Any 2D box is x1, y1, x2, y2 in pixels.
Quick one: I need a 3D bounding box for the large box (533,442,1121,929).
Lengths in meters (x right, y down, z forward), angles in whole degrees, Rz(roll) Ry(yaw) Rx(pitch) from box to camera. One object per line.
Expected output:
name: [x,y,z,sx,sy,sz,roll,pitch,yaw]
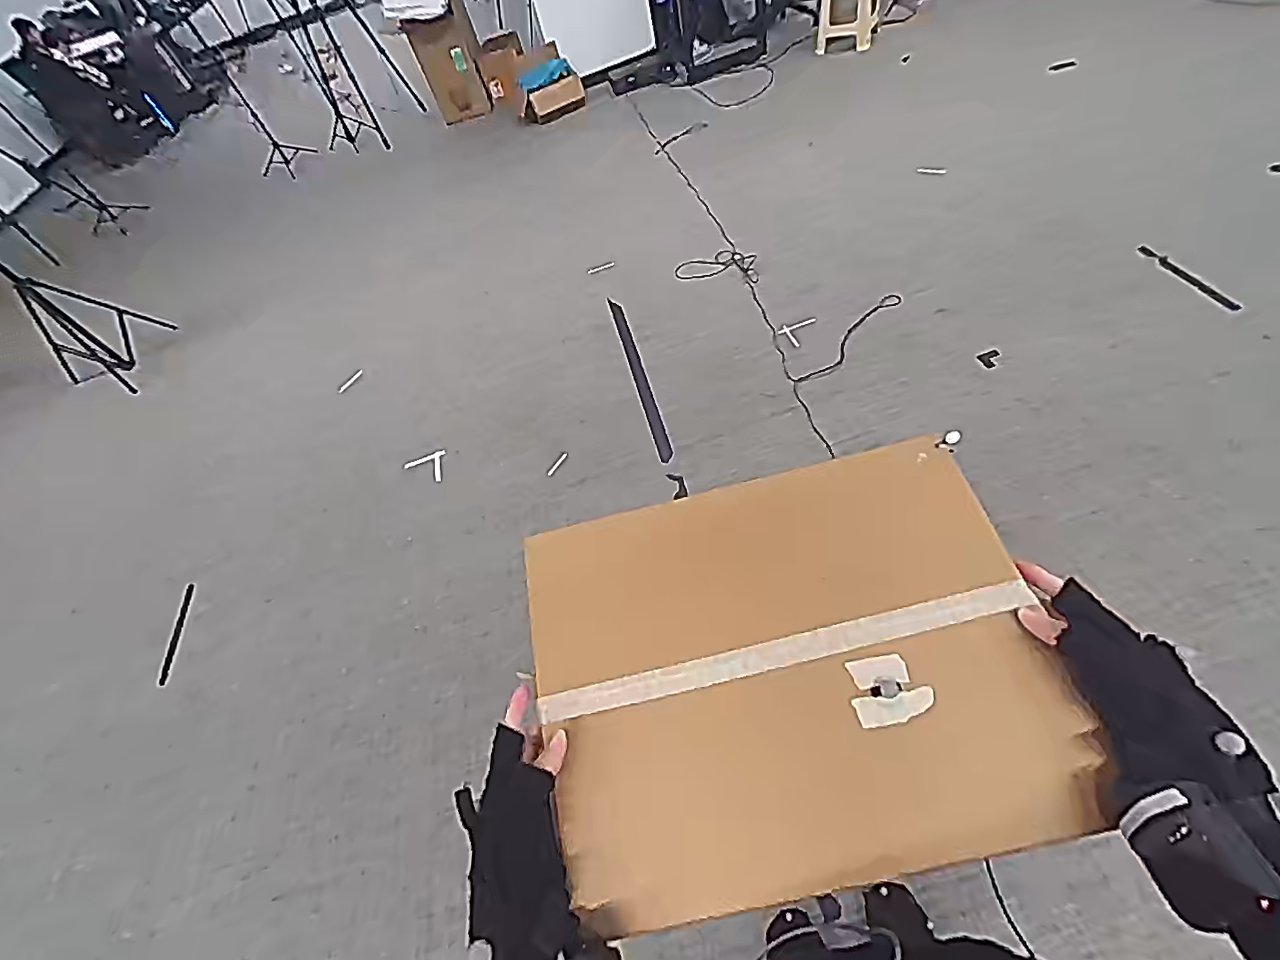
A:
large box: [0.137,0.212,0.583,0.408,0.320,0.320,-14,62,2]
